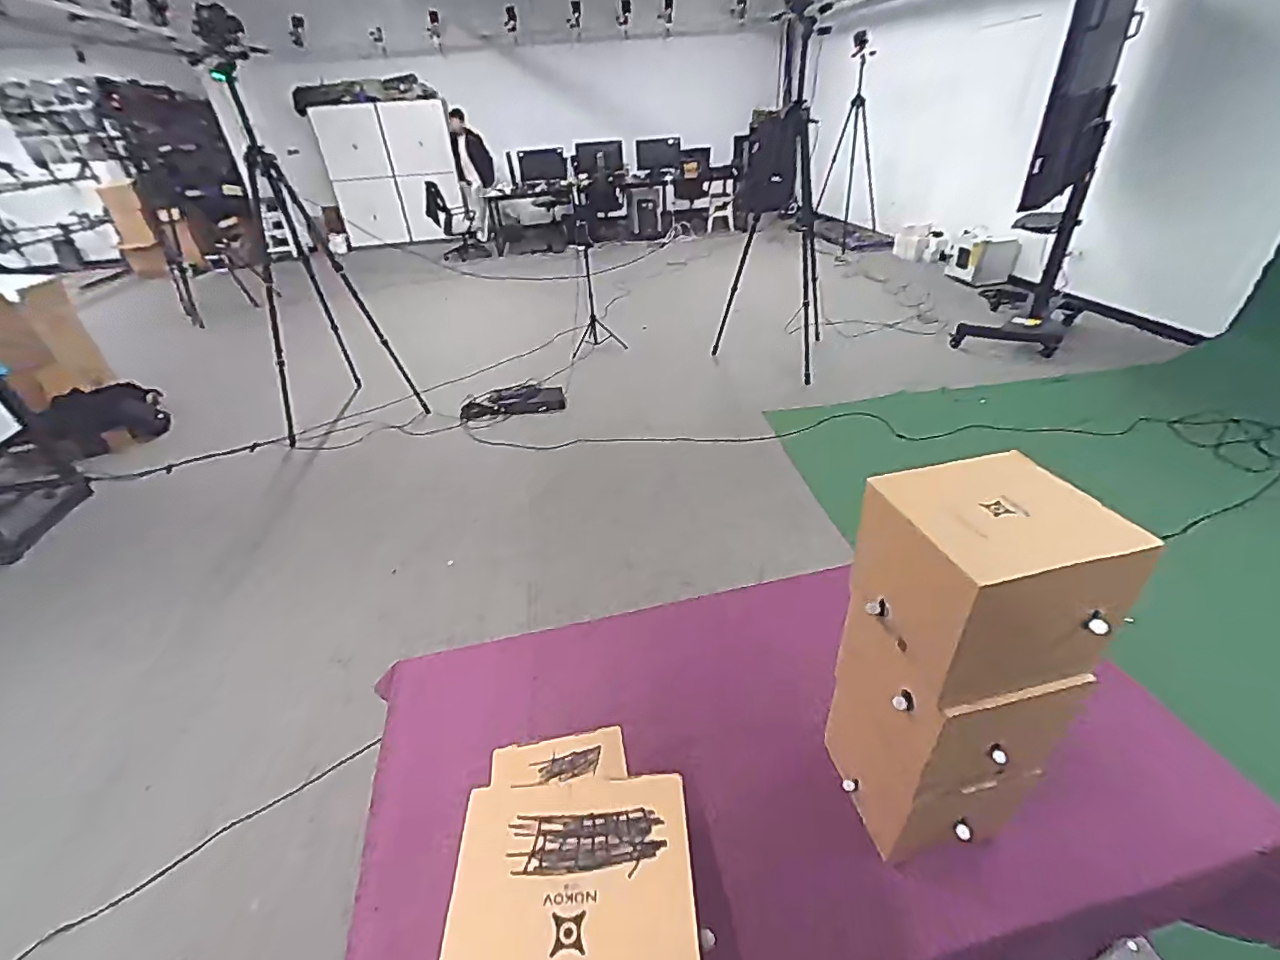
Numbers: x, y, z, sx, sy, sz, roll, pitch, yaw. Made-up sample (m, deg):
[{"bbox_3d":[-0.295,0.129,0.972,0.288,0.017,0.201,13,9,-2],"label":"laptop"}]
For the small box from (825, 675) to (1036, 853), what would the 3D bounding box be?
[{"bbox_3d":[0.371,0.370,0.729,0.168,0.176,0.179,-9,35,-7],"label":"small box"}]

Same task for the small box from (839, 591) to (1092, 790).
[{"bbox_3d":[0.357,0.235,0.635,0.168,0.176,0.179,-9,34,-7],"label":"small box"}]

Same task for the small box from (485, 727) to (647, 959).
[{"bbox_3d":[-0.086,0.444,0.669,0.168,0.176,0.179,-8,35,-6],"label":"small box"}]

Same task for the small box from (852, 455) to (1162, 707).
[{"bbox_3d":[0.342,0.098,0.547,0.179,0.176,0.168,-10,34,-7],"label":"small box"}]
